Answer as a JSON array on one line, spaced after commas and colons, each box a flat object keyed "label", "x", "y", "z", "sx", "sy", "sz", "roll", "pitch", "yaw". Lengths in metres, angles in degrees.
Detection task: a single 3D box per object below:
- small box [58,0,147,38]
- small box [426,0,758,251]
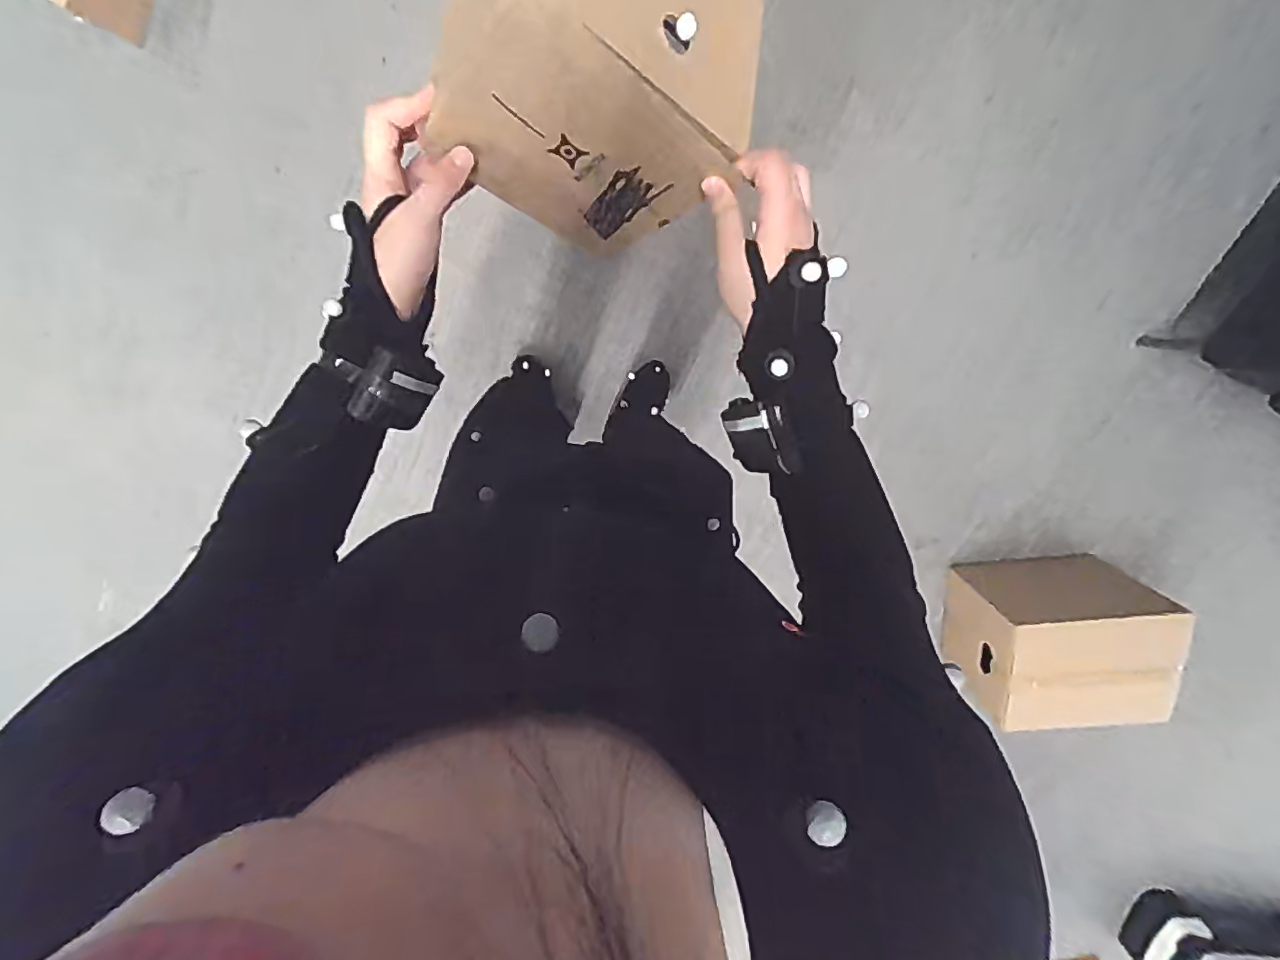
[{"label": "small box", "x": -1.128, "y": -1.047, "z": 1.075, "sx": 0.168, "sy": 0.176, "sz": 0.179, "roll": 30, "pitch": 106, "yaw": -9}, {"label": "small box", "x": -0.029, "y": -0.309, "z": 0.396, "sx": 0.179, "sy": 0.168, "sz": 0.176, "roll": 15, "pitch": 77, "yaw": -38}]
